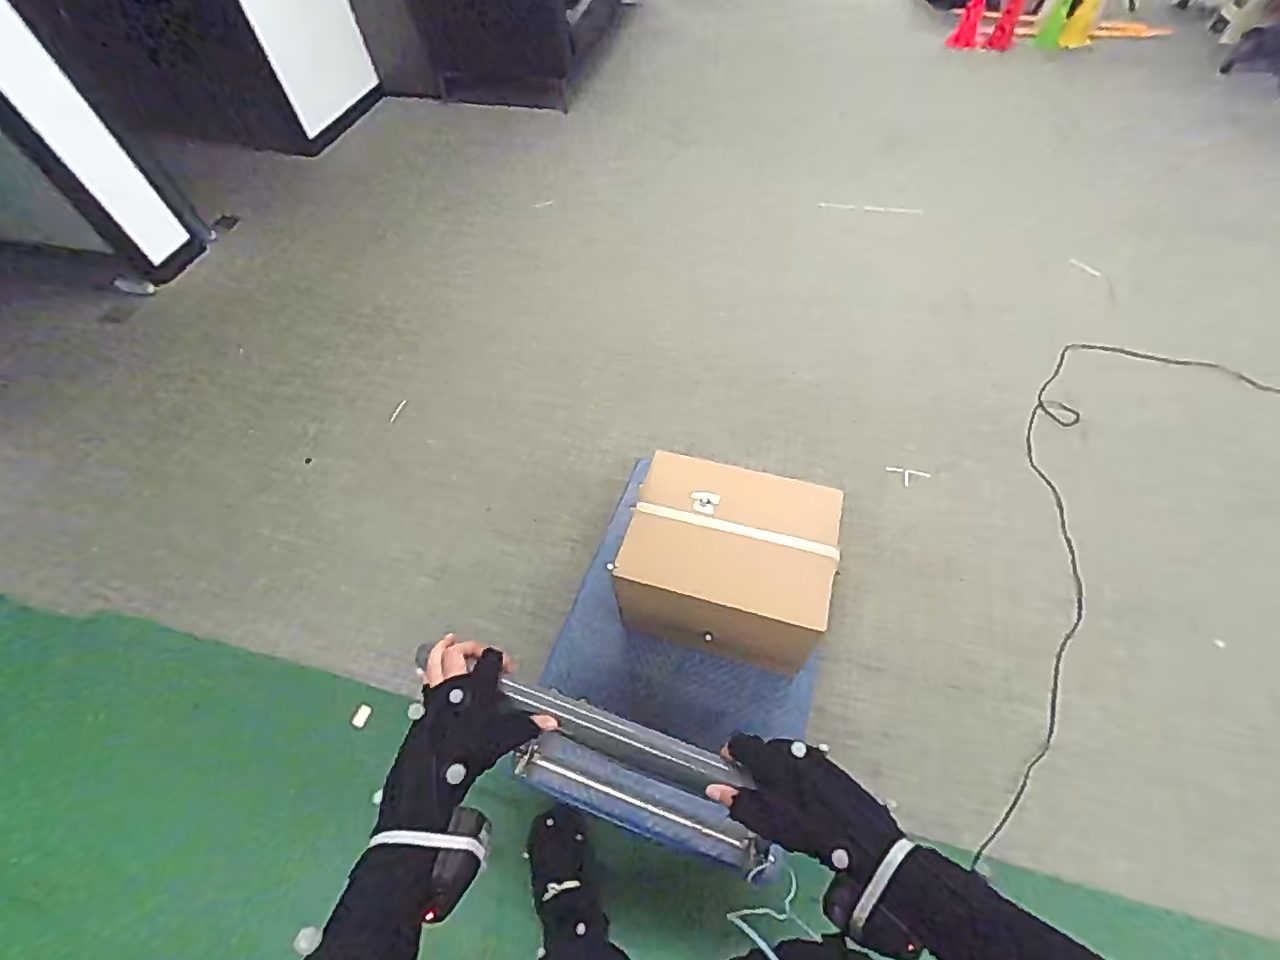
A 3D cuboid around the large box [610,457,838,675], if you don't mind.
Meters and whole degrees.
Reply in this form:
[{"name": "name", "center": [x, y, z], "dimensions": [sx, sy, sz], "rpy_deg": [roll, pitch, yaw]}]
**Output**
[{"name": "large box", "center": [0.187, 0.194, 1.194], "dimensions": [0.408, 0.320, 0.320], "rpy_deg": [13, 57, 14]}]
